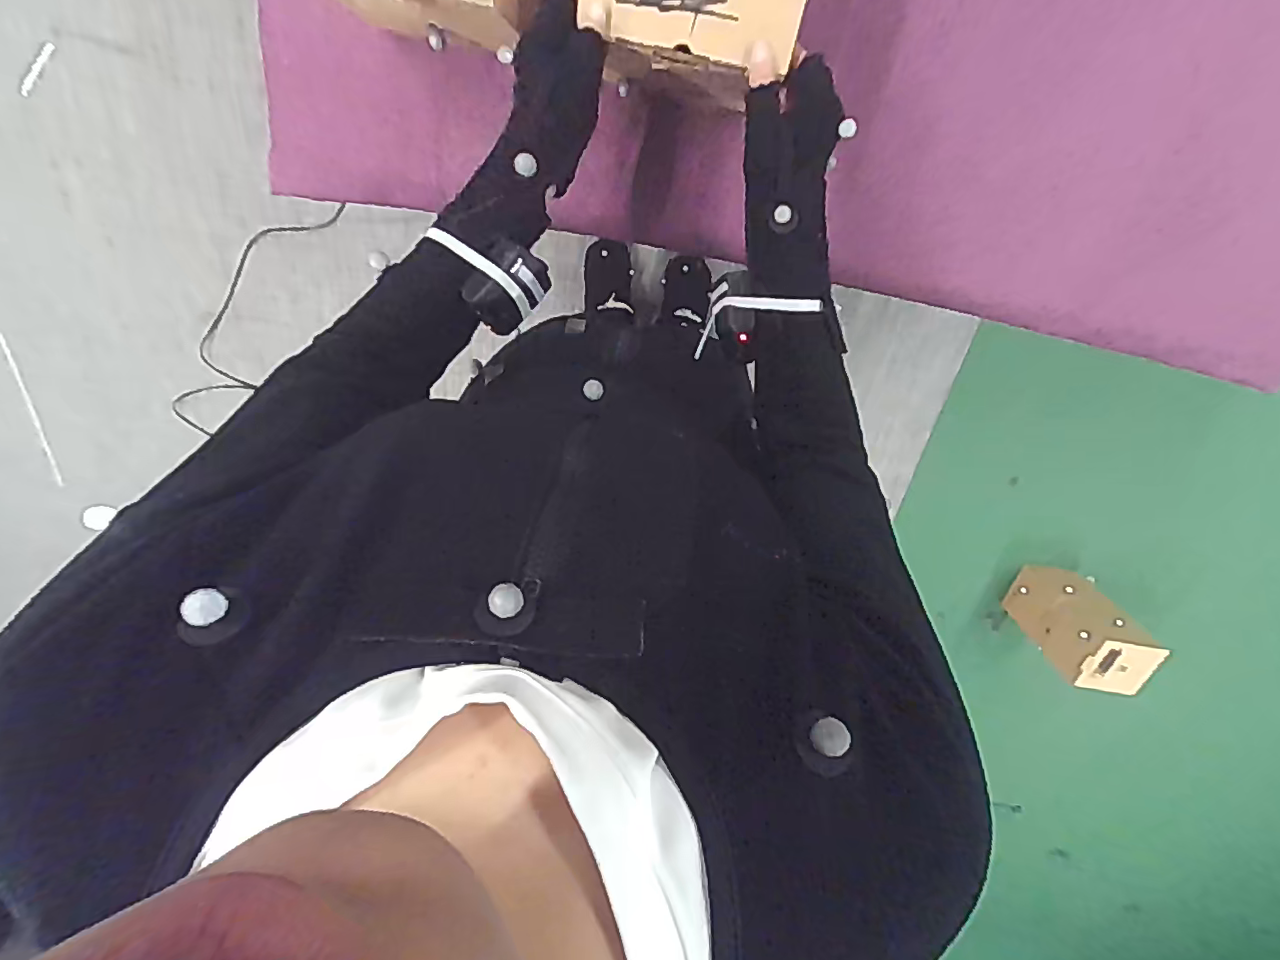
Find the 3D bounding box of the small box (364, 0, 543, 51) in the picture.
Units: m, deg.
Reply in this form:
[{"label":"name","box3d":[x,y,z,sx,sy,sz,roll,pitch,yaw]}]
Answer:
[{"label":"small box","box3d":[-0.167,-0.483,0.429,0.168,0.176,0.179,11,117,-3]}]

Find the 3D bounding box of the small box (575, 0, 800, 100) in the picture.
[{"label":"small box","box3d":[0.050,-0.439,0.443,0.168,0.176,0.179,11,116,-3]}]

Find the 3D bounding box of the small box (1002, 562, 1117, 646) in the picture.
[{"label":"small box","box3d":[1.245,0.367,1.620,0.179,0.176,0.168,10,117,-2]}]
